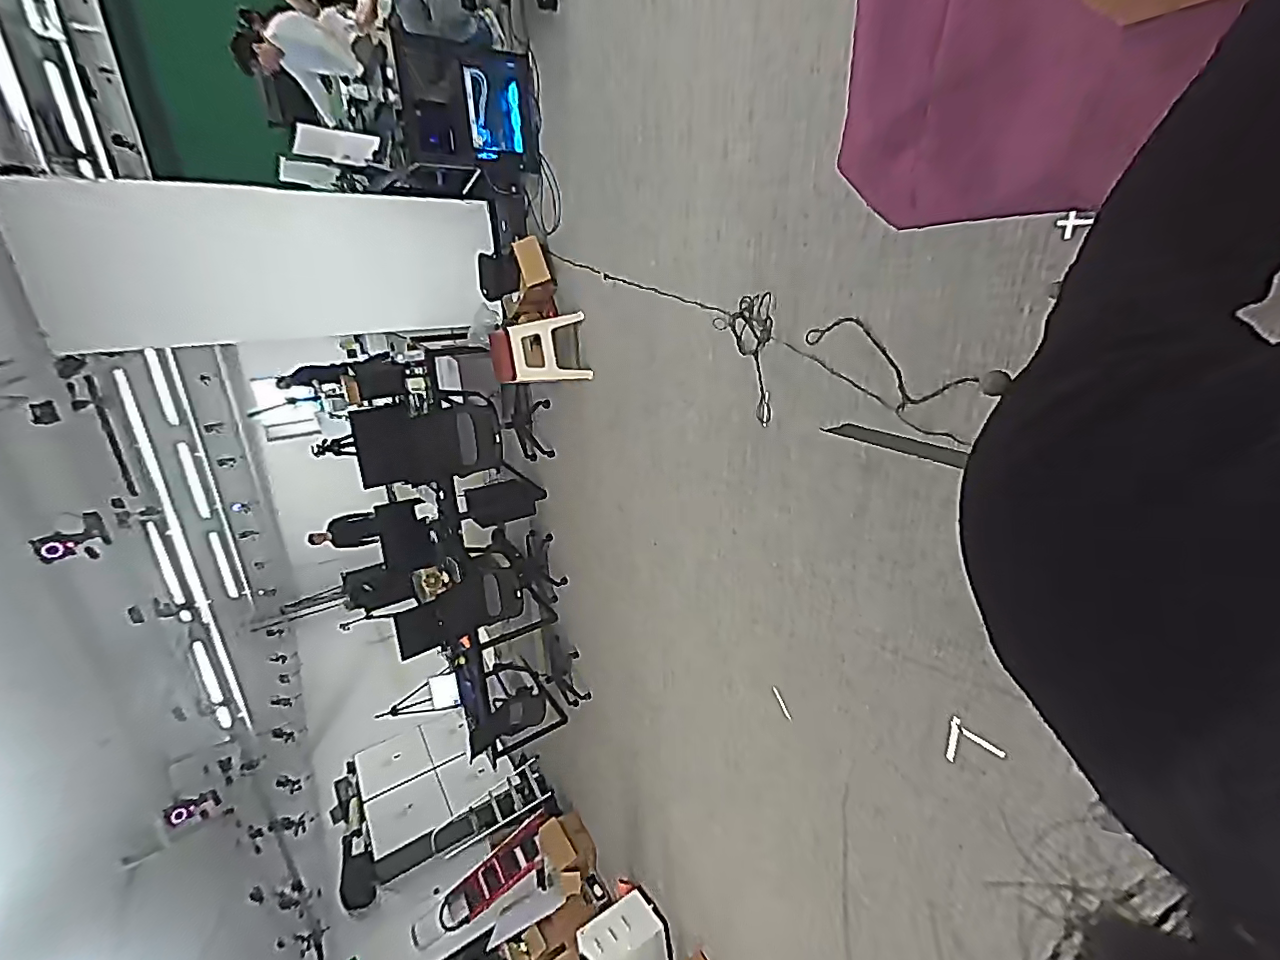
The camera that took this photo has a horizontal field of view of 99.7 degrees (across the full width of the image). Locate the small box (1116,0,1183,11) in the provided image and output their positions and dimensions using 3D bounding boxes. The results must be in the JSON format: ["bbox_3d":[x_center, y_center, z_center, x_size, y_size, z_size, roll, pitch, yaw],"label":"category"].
[{"bbox_3d":[0.483,-0.510,0.422,0.179,0.176,0.168,27,125,51],"label":"small box"}]
